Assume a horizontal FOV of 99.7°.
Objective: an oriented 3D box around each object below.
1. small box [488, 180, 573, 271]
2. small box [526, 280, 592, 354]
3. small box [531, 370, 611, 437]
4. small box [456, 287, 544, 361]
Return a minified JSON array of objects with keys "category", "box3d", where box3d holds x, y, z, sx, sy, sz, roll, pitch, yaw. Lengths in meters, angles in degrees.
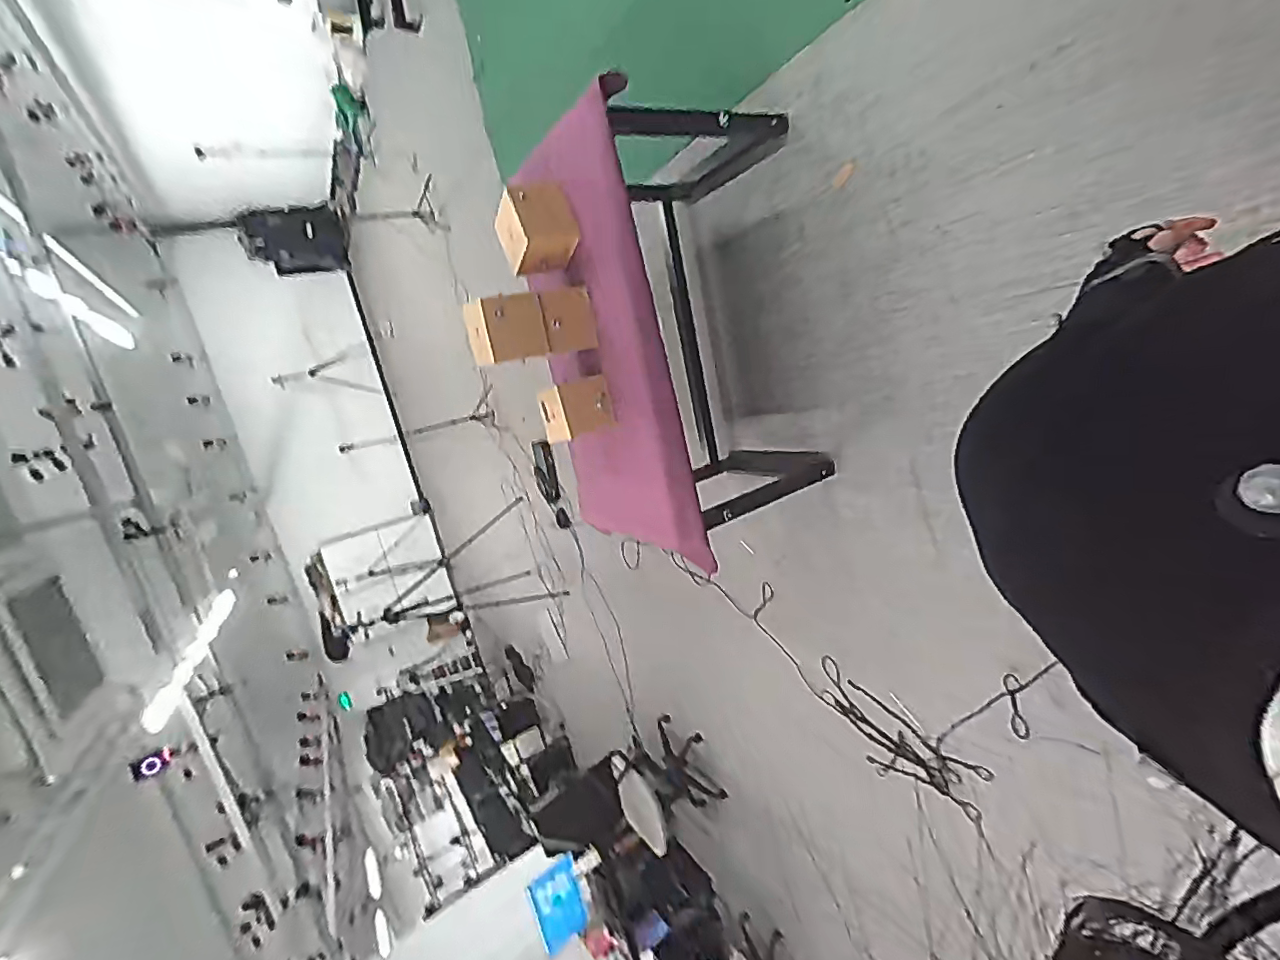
[{"category":"small box","box3d":[-0.309,-0.726,1.536,0.168,0.176,0.179,-32,79,60]},{"category":"small box","box3d":[-0.260,-0.482,1.604,0.168,0.176,0.179,13,118,55]},{"category":"small box","box3d":[-0.212,-0.235,1.669,0.179,0.176,0.168,0,108,58]},{"category":"small box","box3d":[-0.390,-0.437,1.513,0.168,0.176,0.179,14,119,55]}]
